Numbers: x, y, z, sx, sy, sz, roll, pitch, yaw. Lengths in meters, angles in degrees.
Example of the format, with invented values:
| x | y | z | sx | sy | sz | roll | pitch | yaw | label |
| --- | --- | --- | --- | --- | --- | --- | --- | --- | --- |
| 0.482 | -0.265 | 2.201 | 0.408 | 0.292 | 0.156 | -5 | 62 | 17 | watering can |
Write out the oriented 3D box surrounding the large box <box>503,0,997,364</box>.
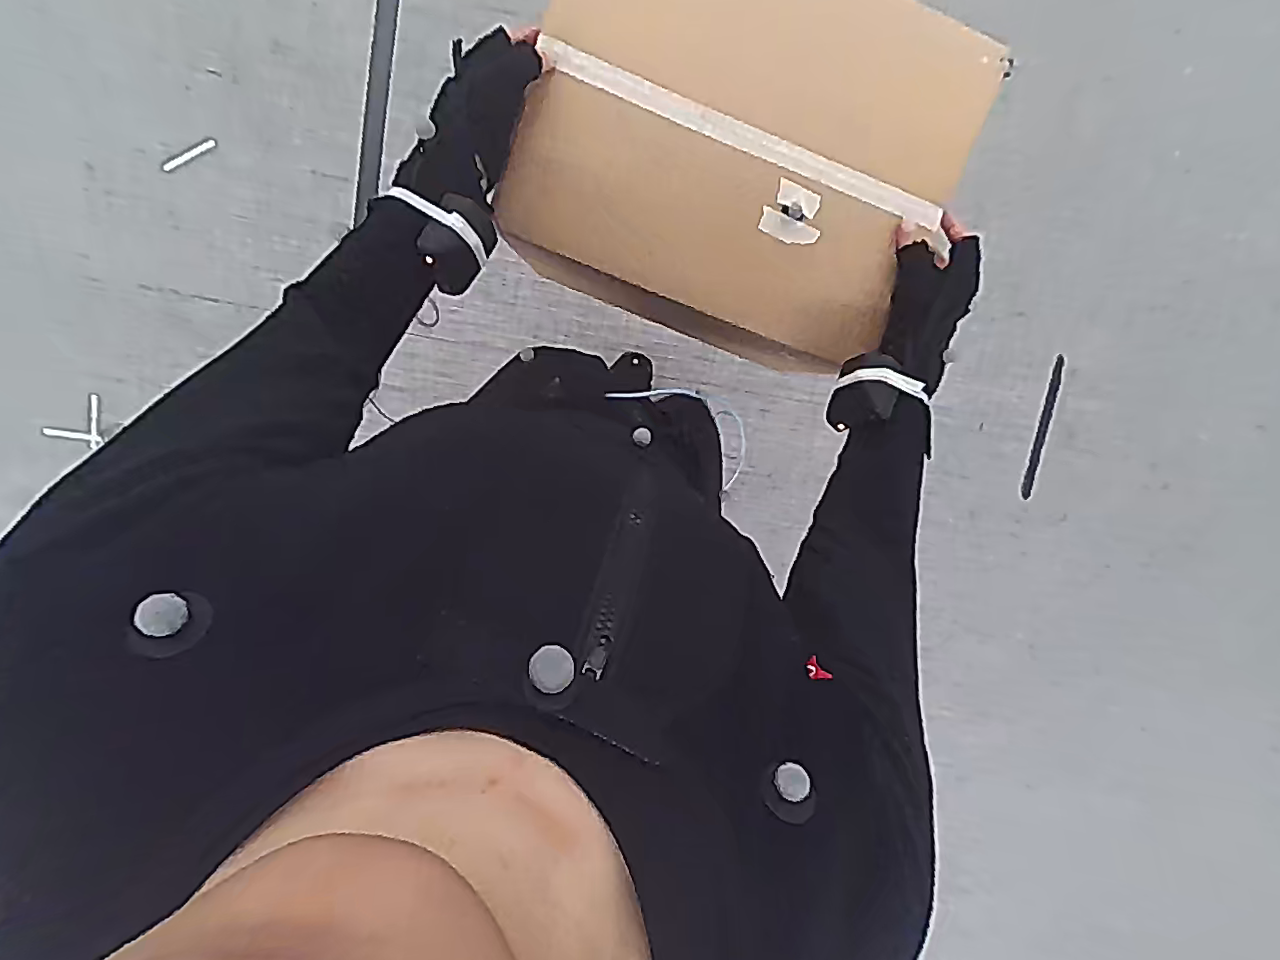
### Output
| x | y | z | sx | sy | sz | roll | pitch | yaw | label |
| --- | --- | --- | --- | --- | --- | --- | --- | --- | --- |
| 0.093 | -0.356 | 0.659 | 0.408 | 0.320 | 0.320 | 20 | 103 | -7 | large box |
